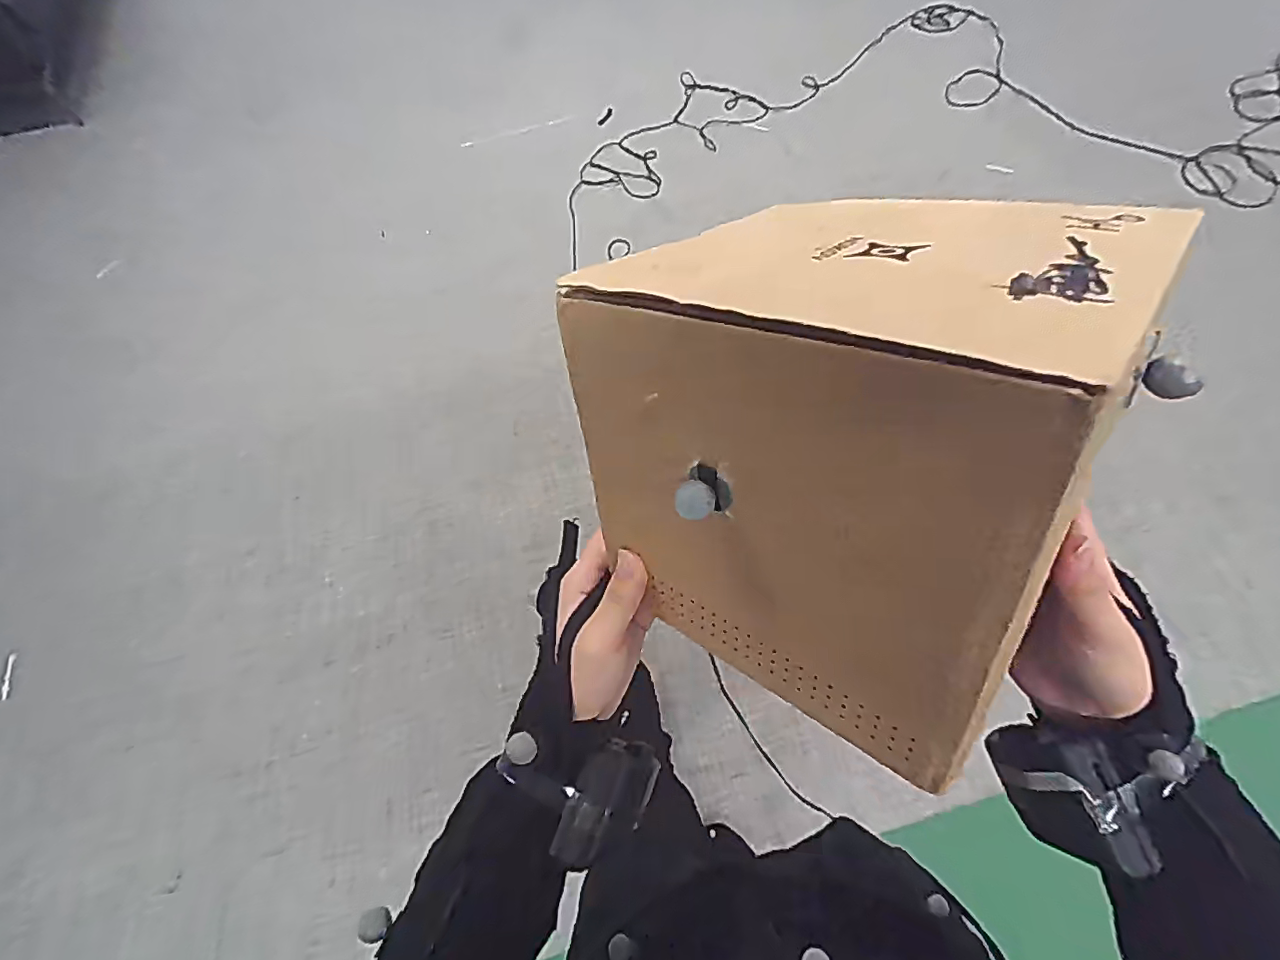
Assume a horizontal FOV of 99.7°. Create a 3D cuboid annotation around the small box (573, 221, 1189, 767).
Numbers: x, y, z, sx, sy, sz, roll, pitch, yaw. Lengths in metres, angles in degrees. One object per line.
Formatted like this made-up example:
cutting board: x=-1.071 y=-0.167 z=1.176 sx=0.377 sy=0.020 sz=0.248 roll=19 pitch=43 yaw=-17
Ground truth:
small box: x=0.097 y=-0.012 z=0.253 sx=0.179 sy=0.176 sz=0.168 roll=23 pitch=46 yaw=38
